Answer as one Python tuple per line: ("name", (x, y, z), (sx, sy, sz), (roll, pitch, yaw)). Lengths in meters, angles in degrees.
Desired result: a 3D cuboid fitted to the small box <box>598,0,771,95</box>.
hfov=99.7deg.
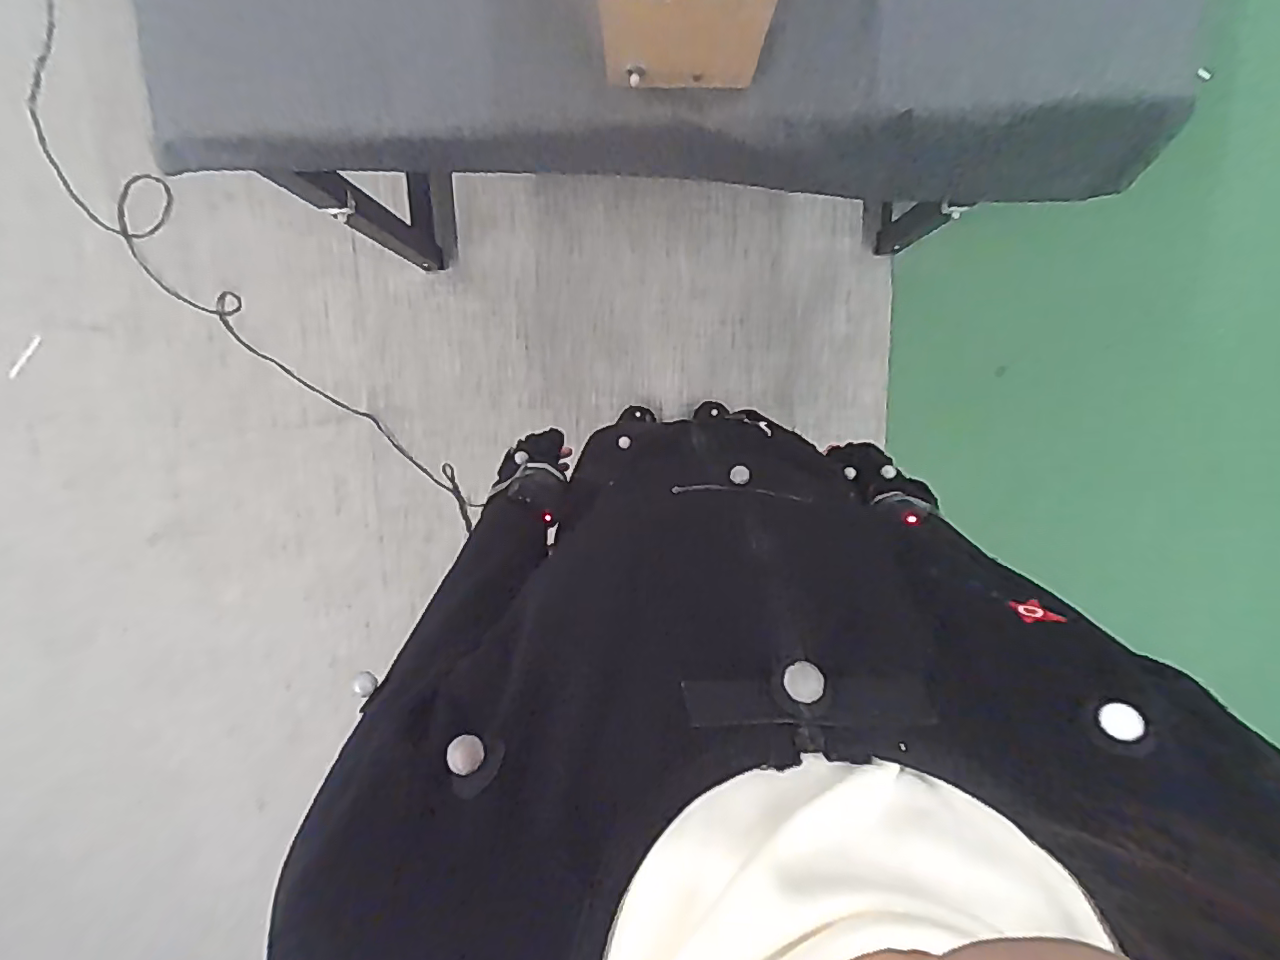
("small box", (0.047, -0.530, 0.550), (0.168, 0.176, 0.179), (2, 96, -1))
